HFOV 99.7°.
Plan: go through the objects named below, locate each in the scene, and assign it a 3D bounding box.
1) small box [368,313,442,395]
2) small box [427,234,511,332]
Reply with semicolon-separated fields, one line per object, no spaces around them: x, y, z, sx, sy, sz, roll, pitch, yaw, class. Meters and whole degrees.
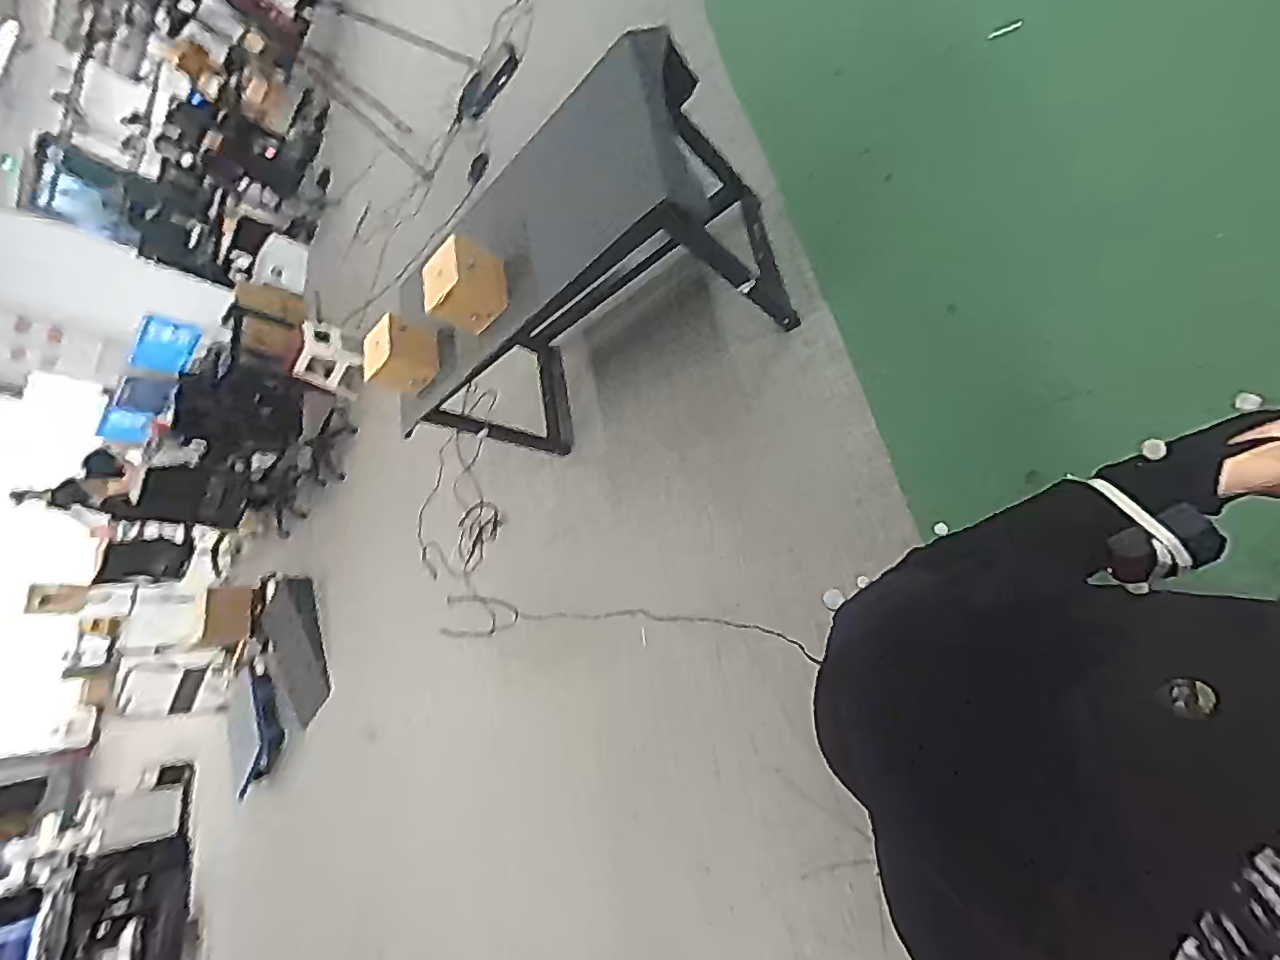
-0.770;-0.408;1.773;0.168;0.176;0.179;-29;63;34;small box
-0.496;-0.563;1.569;0.168;0.176;0.179;-28;64;34;small box
